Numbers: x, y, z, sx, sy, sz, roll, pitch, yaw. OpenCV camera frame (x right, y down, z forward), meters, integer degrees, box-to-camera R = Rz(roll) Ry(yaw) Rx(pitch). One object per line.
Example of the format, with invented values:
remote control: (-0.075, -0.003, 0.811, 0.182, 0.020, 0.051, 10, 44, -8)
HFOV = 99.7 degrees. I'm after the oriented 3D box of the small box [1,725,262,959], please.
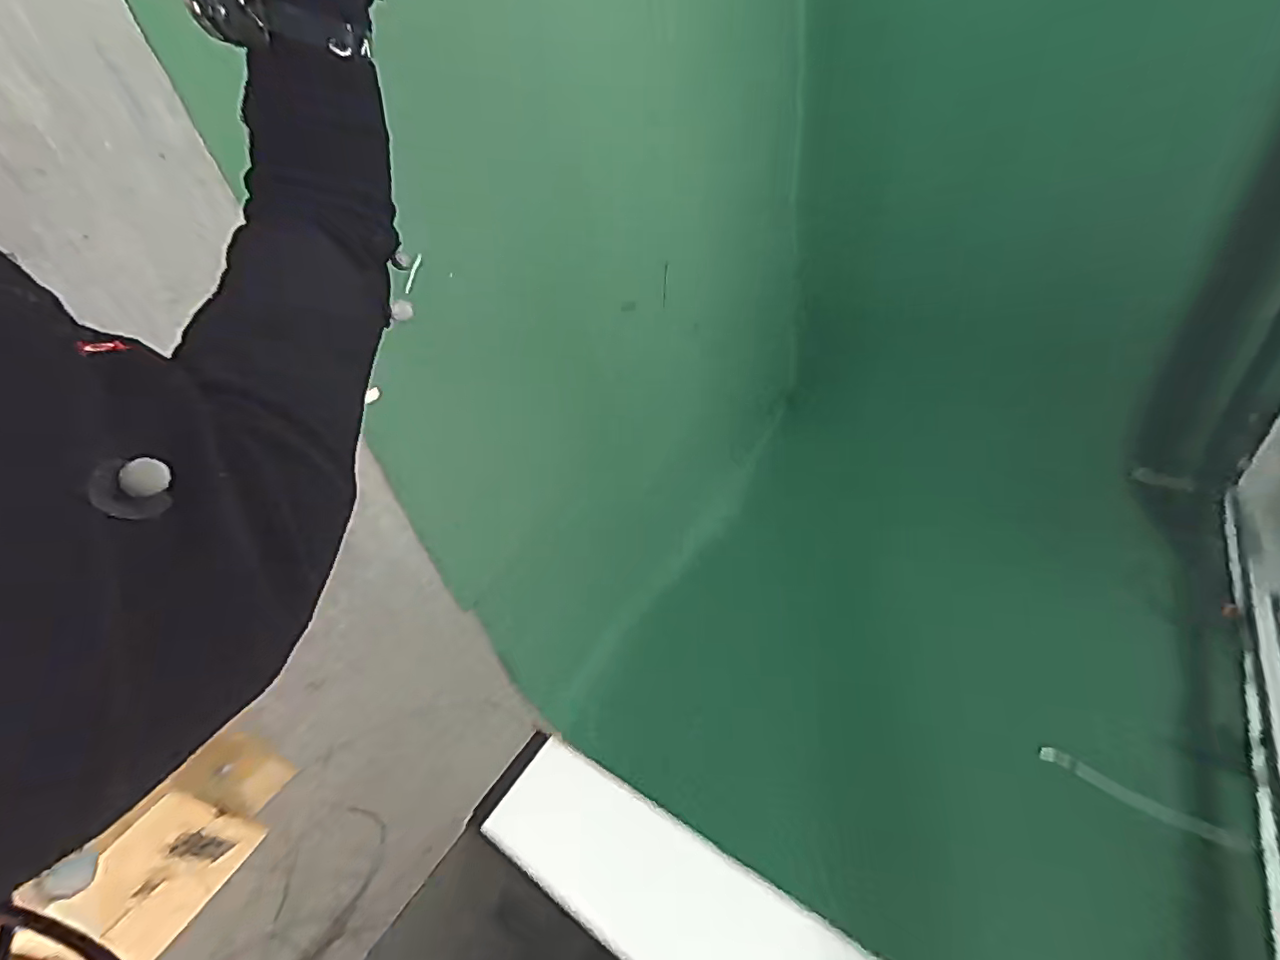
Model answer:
small box: (-0.656, 0.458, 0.703, 0.179, 0.176, 0.168, -49, 136, -31)
